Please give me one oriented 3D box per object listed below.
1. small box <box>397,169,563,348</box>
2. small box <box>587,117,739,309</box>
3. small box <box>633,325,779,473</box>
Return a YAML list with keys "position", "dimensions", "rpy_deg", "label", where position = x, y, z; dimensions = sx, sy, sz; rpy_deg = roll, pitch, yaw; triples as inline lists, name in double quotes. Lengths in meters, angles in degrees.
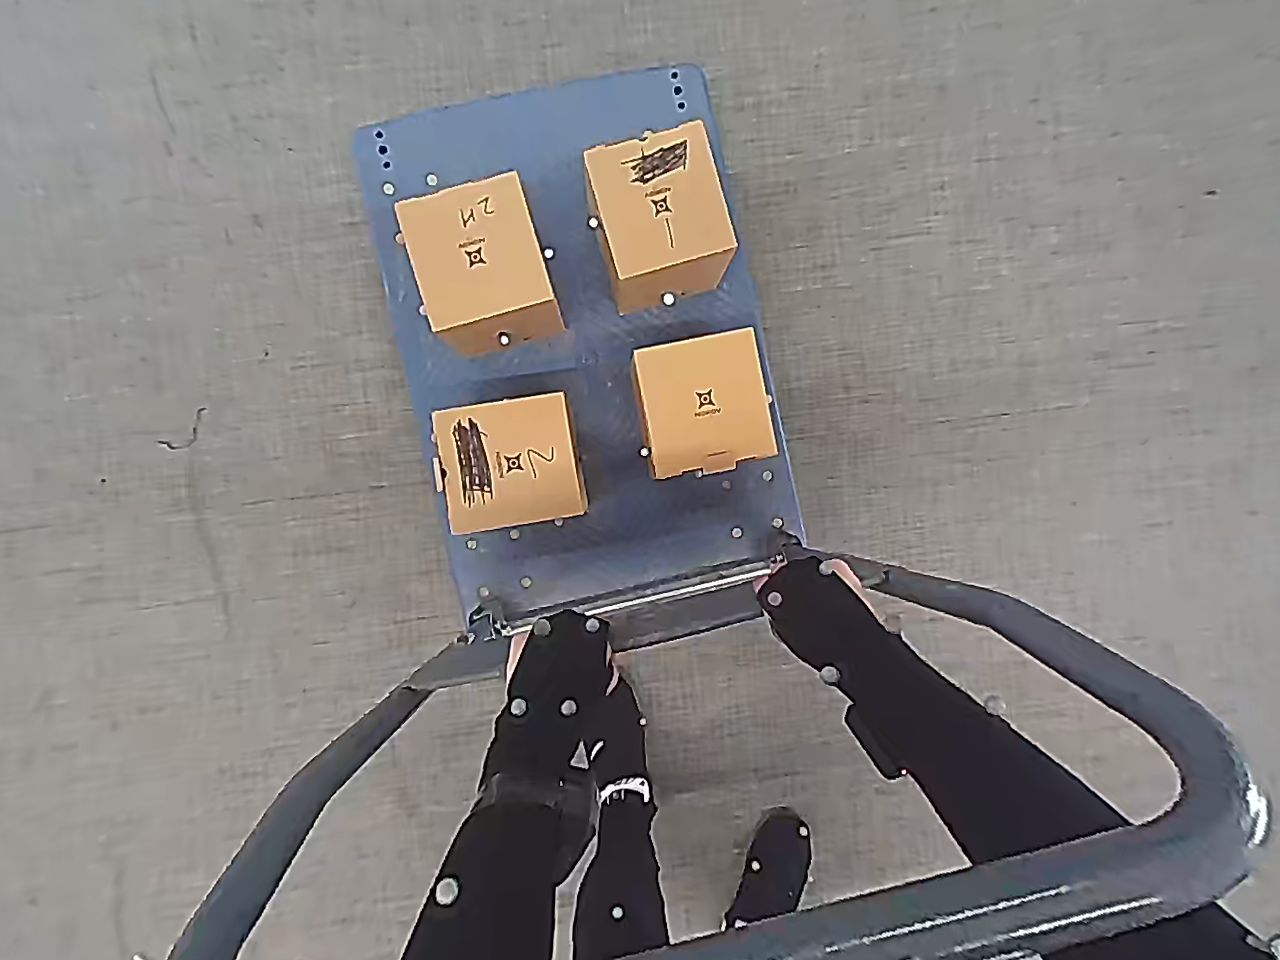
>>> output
- position: [-0.215, -0.299, 0.776]
  dimensions: [0.168, 0.176, 0.179]
  rpy_deg: [-16, 92, -3]
  label: "small box"
- position: [0.027, -0.372, 0.784]
  dimensions: [0.168, 0.176, 0.179]
  rpy_deg: [-16, 93, -1]
  label: "small box"
- position: [0.086, -0.108, 0.793]
  dimensions: [0.168, 0.176, 0.179]
  rpy_deg: [-12, 92, -2]
  label: "small box"
